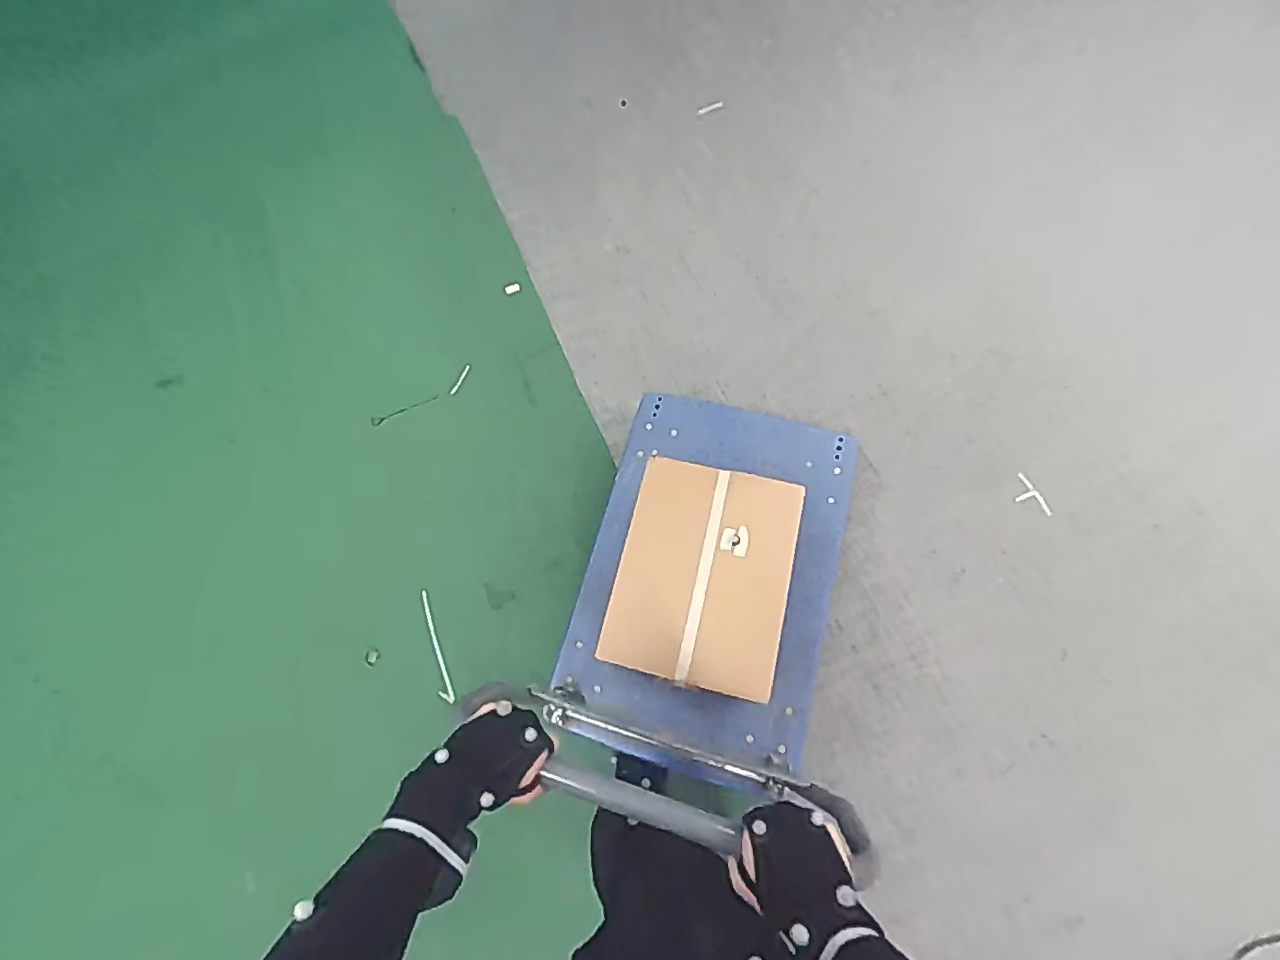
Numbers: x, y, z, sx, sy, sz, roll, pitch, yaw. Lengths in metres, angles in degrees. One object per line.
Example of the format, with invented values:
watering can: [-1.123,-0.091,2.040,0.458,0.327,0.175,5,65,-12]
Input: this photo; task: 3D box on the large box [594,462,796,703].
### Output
large box: [0.124,0.224,1.149,0.320,0.320,0.408,13,72,9]
